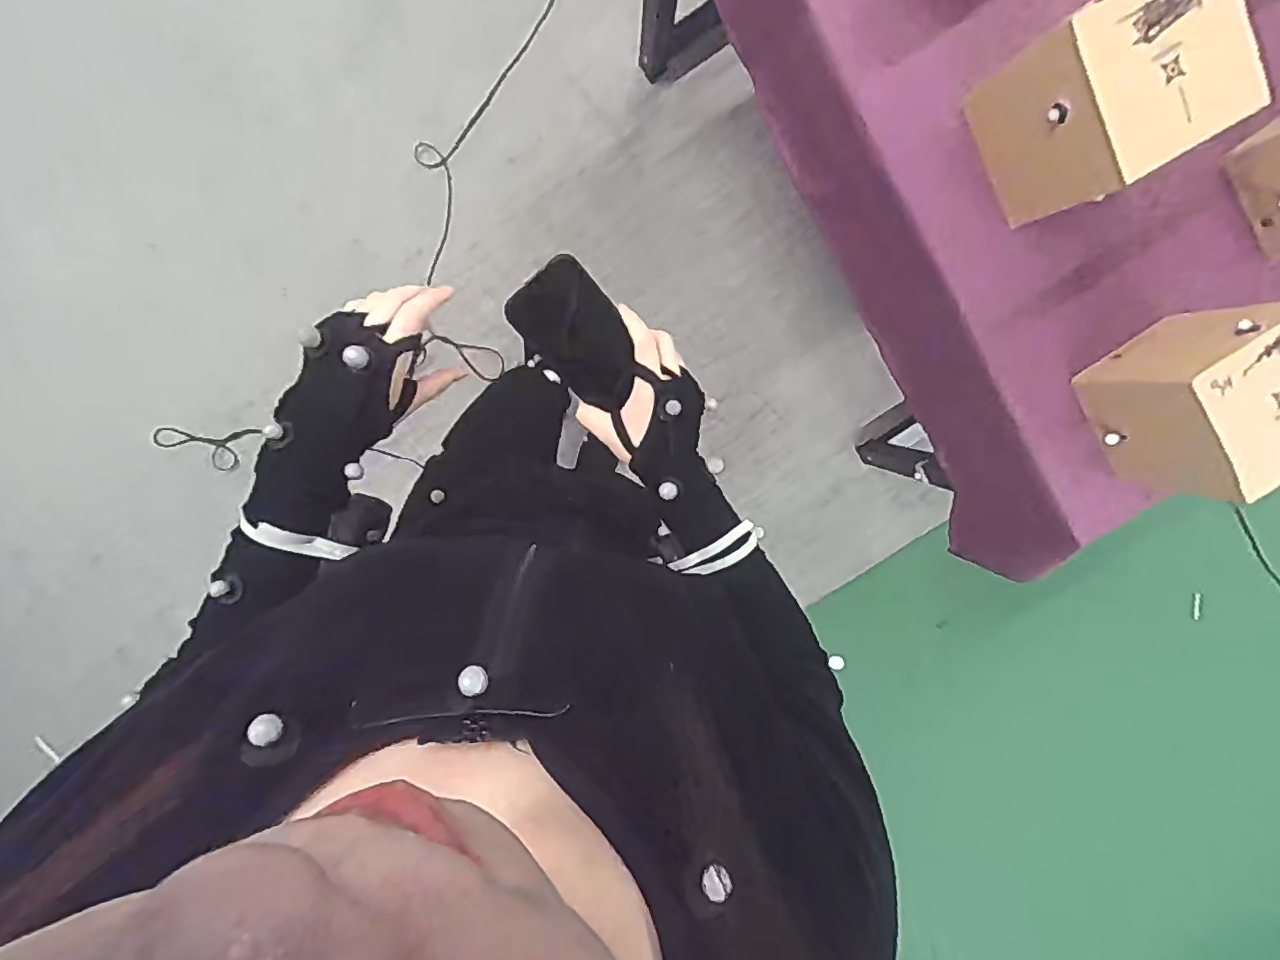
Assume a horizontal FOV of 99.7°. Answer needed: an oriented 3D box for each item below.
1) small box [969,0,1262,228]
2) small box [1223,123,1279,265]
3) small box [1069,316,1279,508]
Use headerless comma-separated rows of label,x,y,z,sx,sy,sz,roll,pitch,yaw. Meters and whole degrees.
small box,0.526,-0.427,0.625,0.168,0.176,0.179,-29,101,3
small box,0.889,-0.390,0.649,0.179,0.176,0.168,-35,100,4
small box,0.717,-0.094,0.695,0.168,0.176,0.179,-33,100,3
